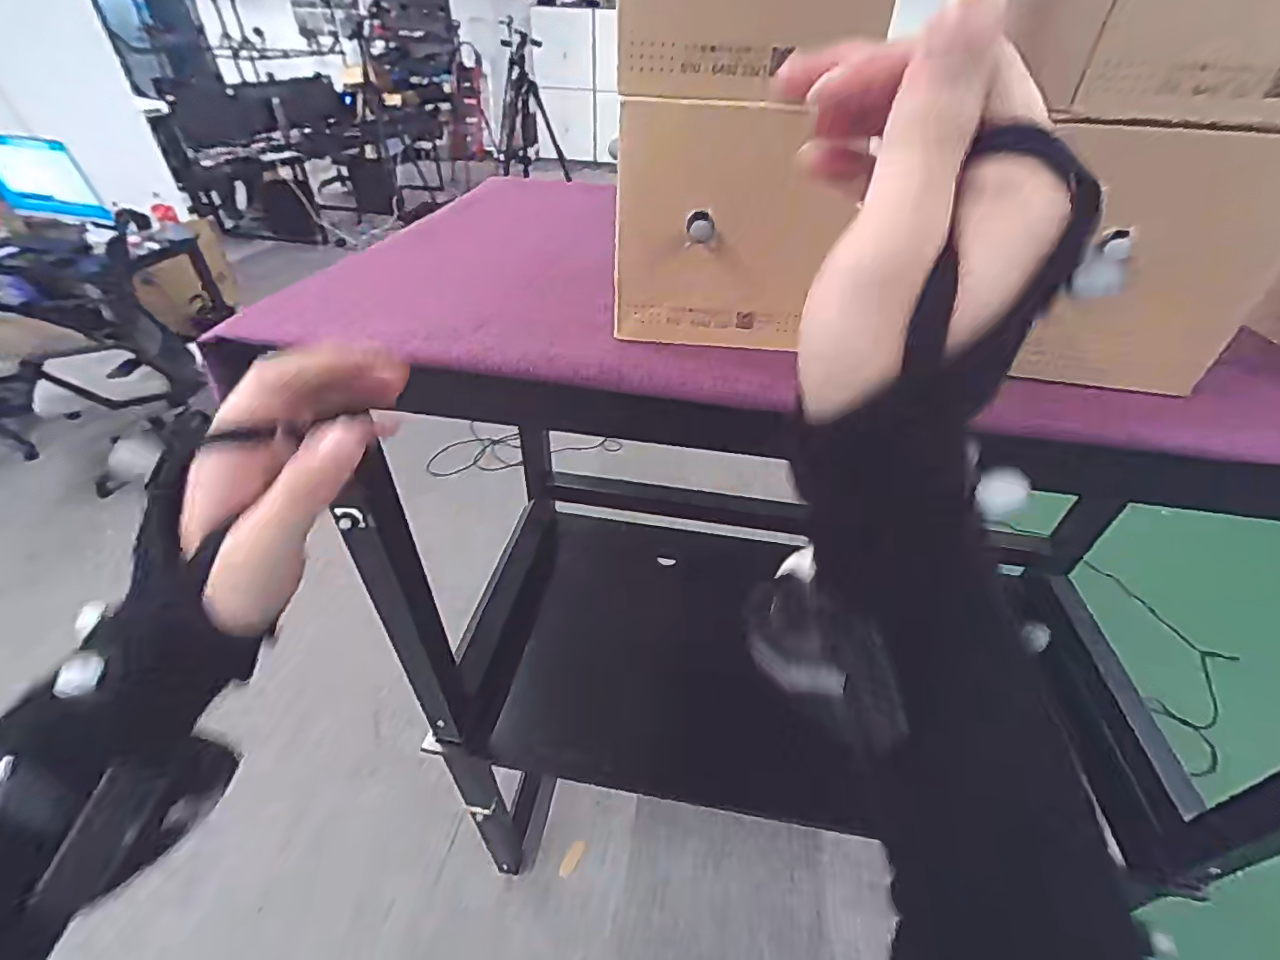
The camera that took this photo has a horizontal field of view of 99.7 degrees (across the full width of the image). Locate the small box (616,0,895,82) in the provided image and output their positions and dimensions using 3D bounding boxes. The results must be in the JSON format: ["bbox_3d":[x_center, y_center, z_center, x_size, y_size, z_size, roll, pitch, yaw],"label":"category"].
[{"bbox_3d":[0.076,-0.363,0.343,0.168,0.176,0.179,6,39,2],"label":"small box"}]

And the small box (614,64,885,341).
[{"bbox_3d":[0.070,-0.227,0.439,0.168,0.176,0.179,5,41,1],"label":"small box"}]
